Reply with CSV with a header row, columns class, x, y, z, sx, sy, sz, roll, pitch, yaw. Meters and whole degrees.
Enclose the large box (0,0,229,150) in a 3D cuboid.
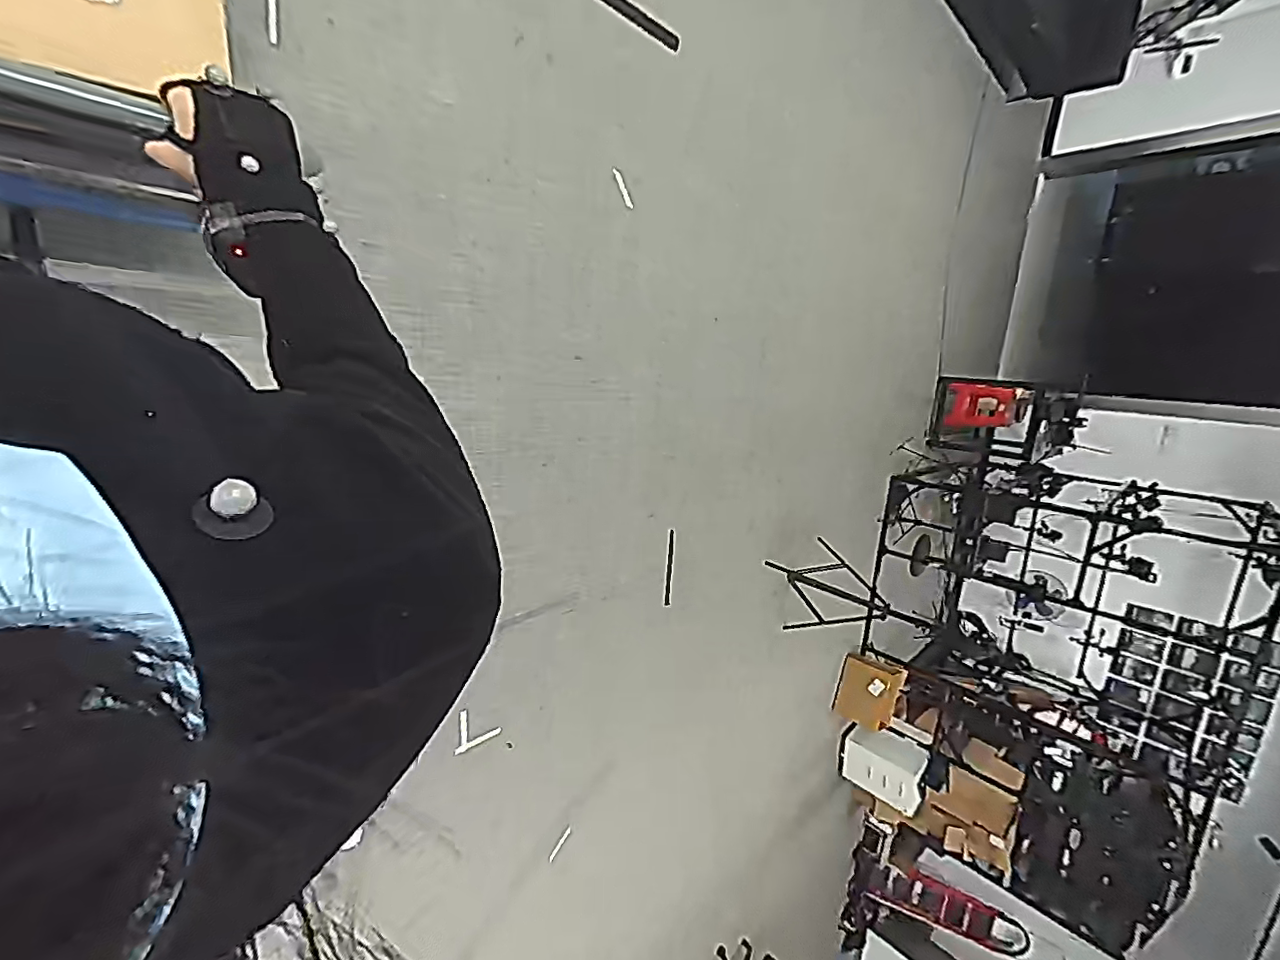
class,x,y,z,sx,sy,sz,roll,pitch,yaw
large box,-0.832,-0.676,0.699,0.408,0.320,0.320,-13,111,-44
